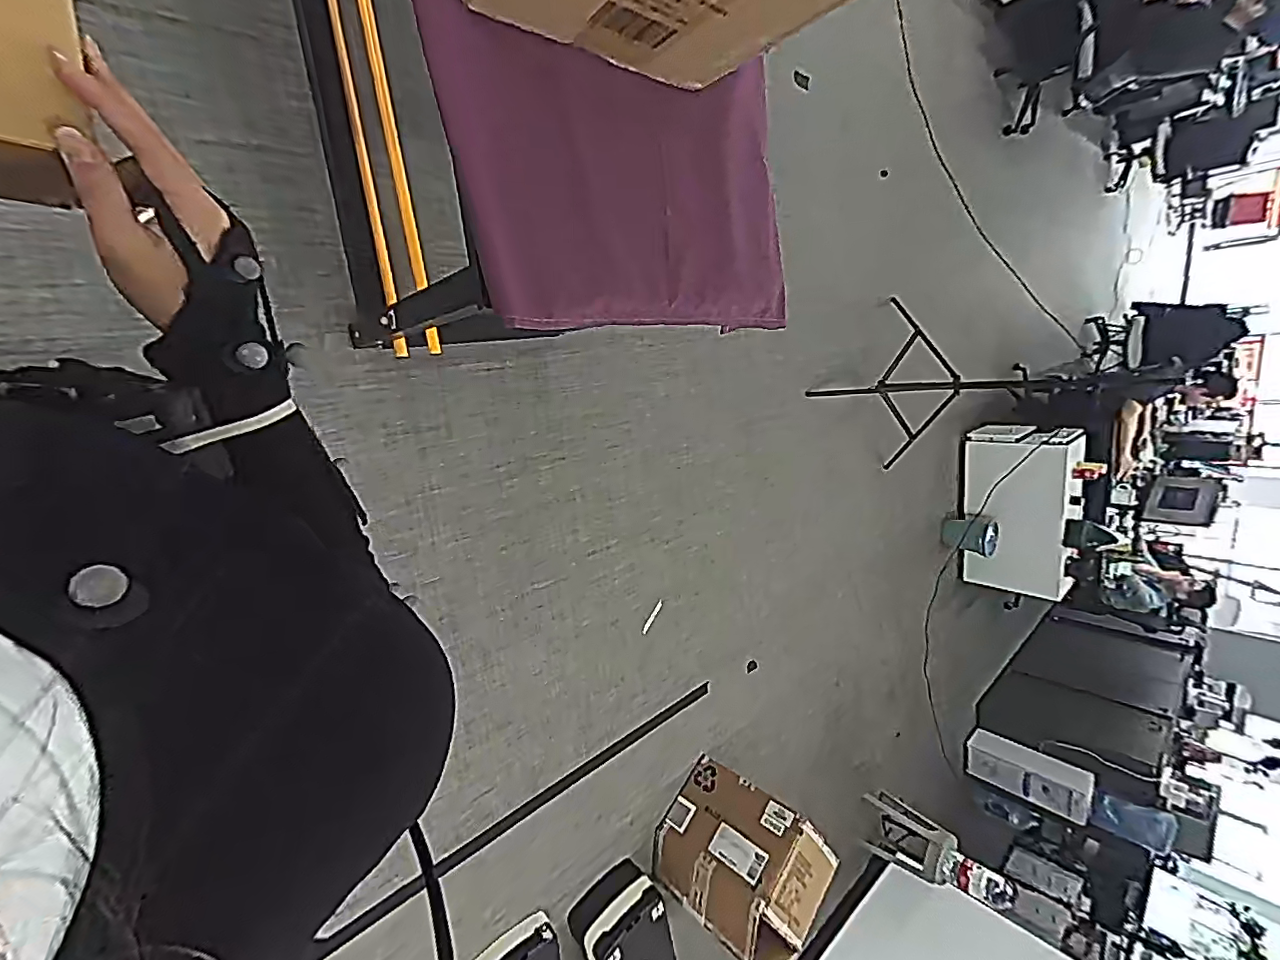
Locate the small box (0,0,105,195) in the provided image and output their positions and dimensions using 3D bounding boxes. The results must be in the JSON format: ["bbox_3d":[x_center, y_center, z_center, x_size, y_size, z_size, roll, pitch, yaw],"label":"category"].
[{"bbox_3d":[-0.394,-0.249,0.254,0.179,0.176,0.168,-11,109,-46],"label":"small box"}]
